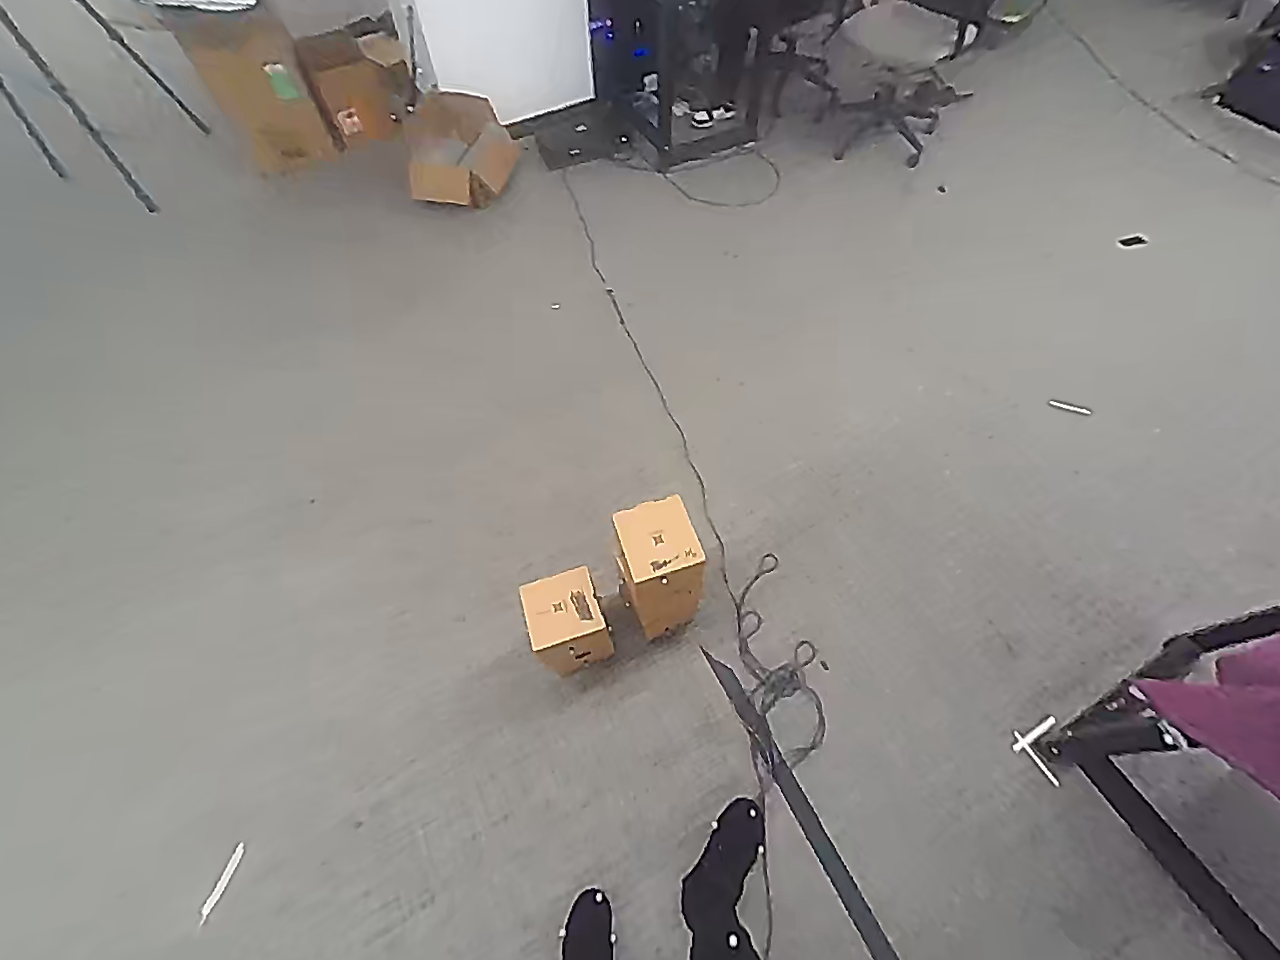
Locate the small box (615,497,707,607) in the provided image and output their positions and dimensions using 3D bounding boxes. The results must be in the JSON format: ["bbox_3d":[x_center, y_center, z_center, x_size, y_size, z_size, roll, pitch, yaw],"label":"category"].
[{"bbox_3d":[0.045,0.170,1.258,0.168,0.176,0.179,-16,59,-8],"label":"small box"}]

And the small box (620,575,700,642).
[{"bbox_3d":[0.052,0.333,1.540,0.168,0.176,0.179,-24,62,-12],"label":"small box"}]

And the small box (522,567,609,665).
[{"bbox_3d":[-0.180,0.342,1.347,0.179,0.176,0.168,-16,60,-8],"label":"small box"}]

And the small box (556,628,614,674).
[{"bbox_3d":[-0.177,0.411,1.496,0.168,0.176,0.179,-20,61,-10],"label":"small box"}]

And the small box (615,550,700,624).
[{"bbox_3d":[0.050,0.251,1.401,0.179,0.176,0.168,-22,61,-11],"label":"small box"}]
